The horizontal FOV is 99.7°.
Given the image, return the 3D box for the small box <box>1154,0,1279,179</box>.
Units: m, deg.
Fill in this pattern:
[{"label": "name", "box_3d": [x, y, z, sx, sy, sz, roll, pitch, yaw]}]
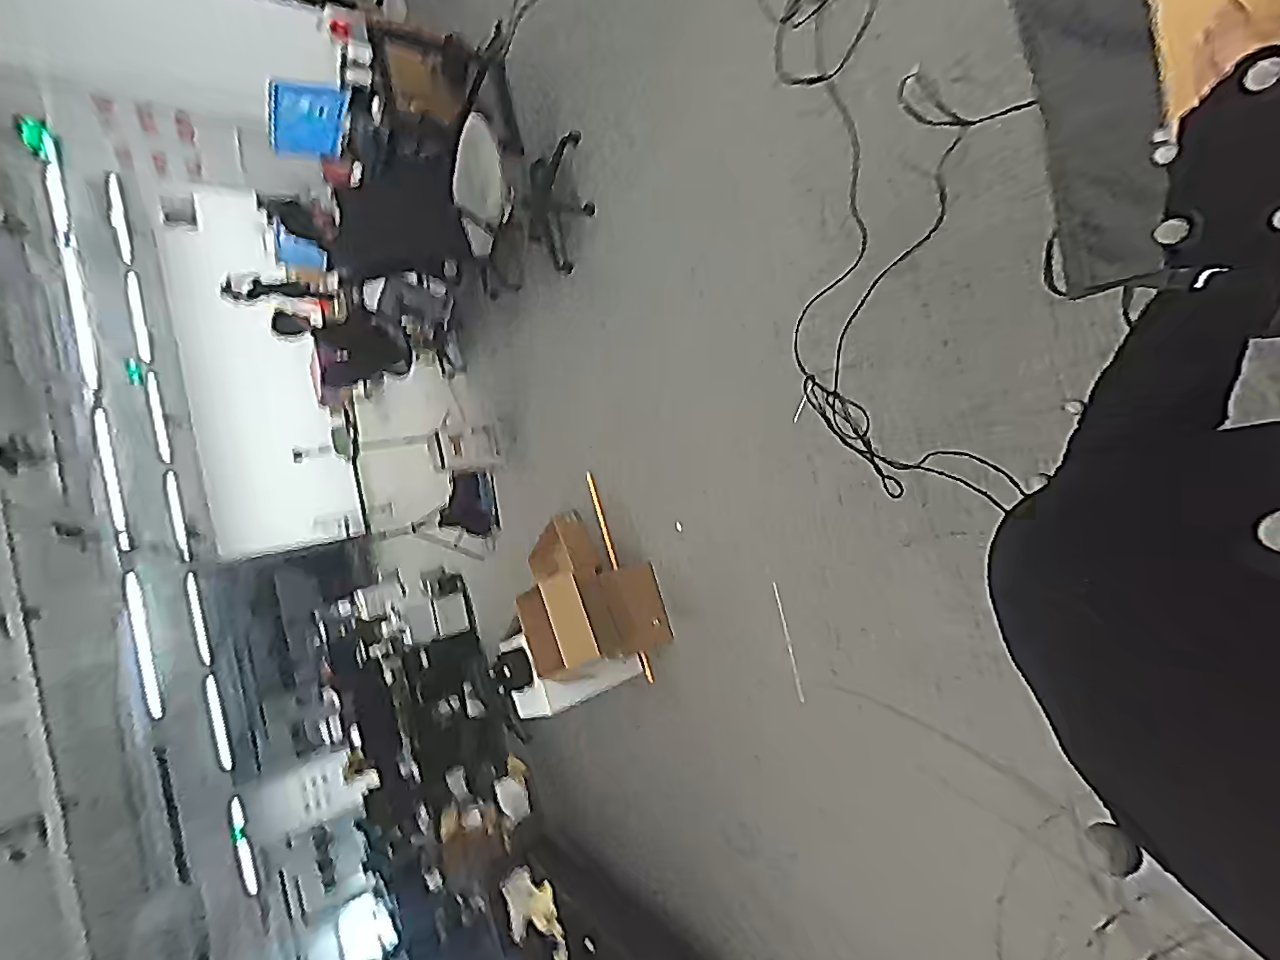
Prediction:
[{"label": "small box", "box_3d": [0.518, -0.358, 0.403, 0.168, 0.176, 0.179, -9, 94, 56]}]
